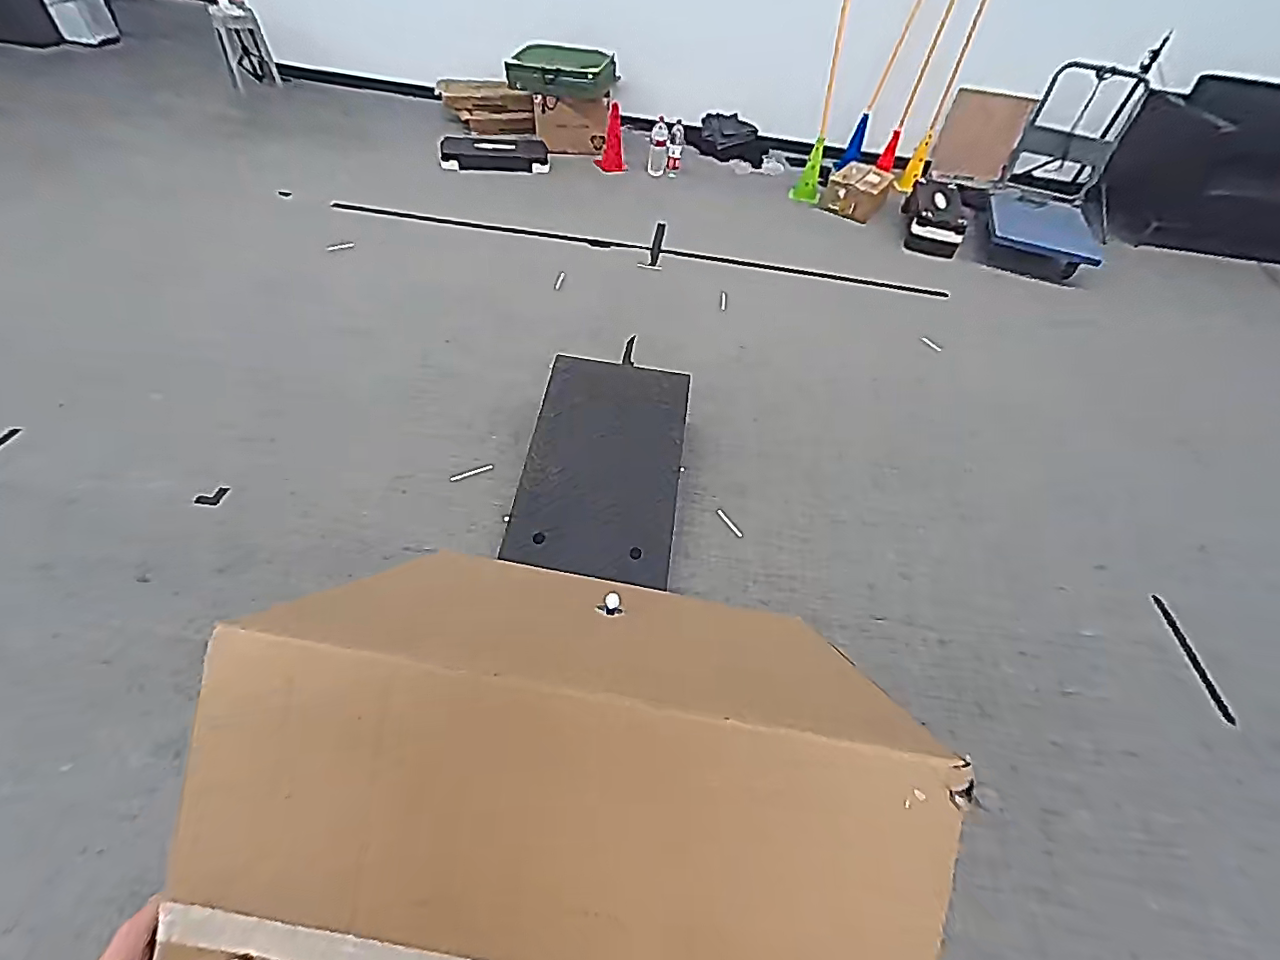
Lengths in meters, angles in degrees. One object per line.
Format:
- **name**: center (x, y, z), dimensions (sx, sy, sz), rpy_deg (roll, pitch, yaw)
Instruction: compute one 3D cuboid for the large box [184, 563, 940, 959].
- **large box**: center (-0.052, 0.267, 0.449), dimensions (0.408, 0.320, 0.320), rpy_deg (10, 91, 0)
